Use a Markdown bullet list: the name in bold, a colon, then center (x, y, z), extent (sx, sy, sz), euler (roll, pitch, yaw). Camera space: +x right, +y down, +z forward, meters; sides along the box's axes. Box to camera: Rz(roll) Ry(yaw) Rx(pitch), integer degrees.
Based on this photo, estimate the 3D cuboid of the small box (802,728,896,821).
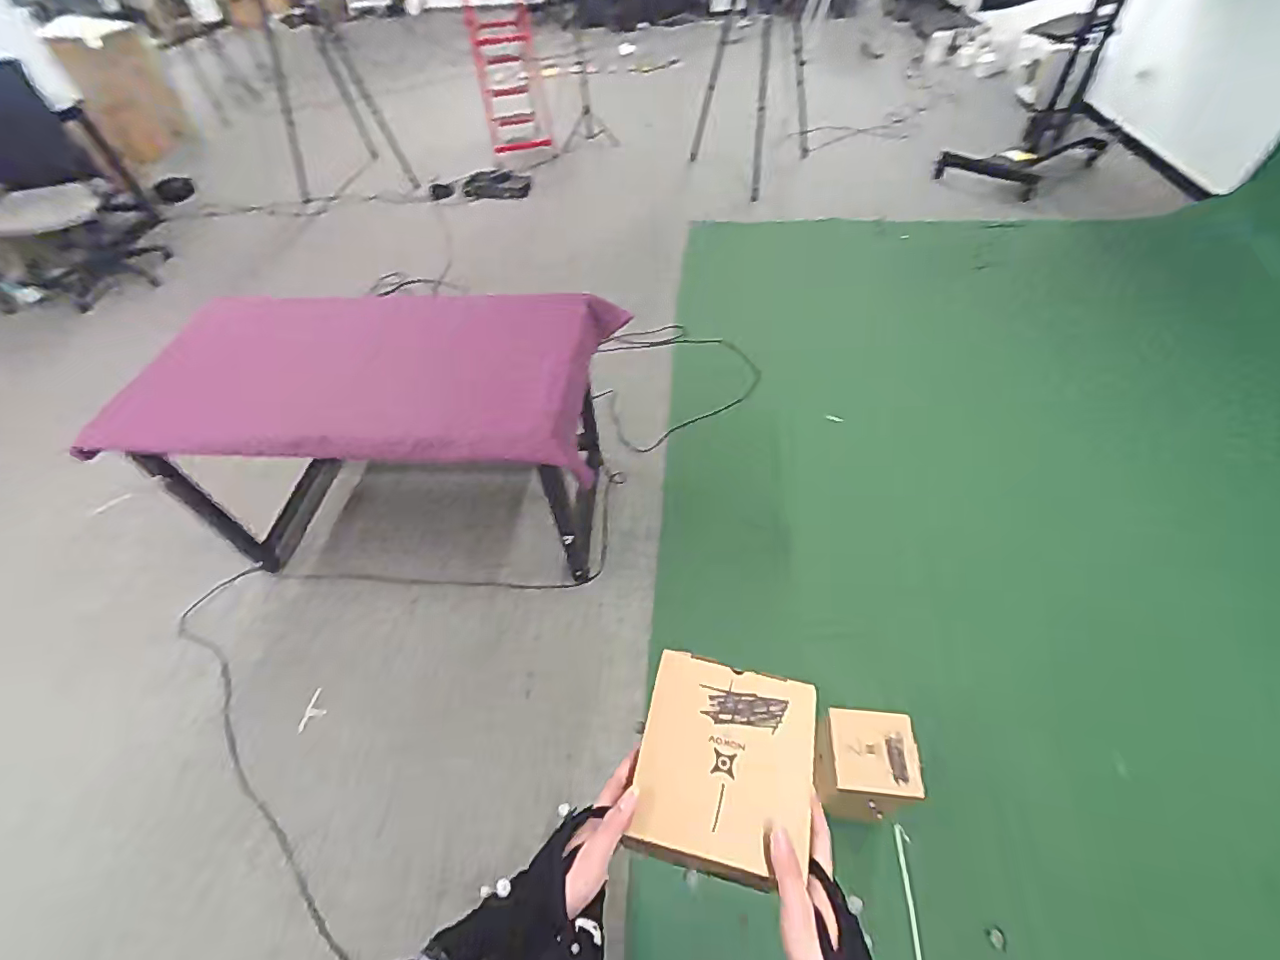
- **small box**: center (0.510, 0.739, 1.351), extent (0.179, 0.176, 0.168), euler (3, 50, 5)
